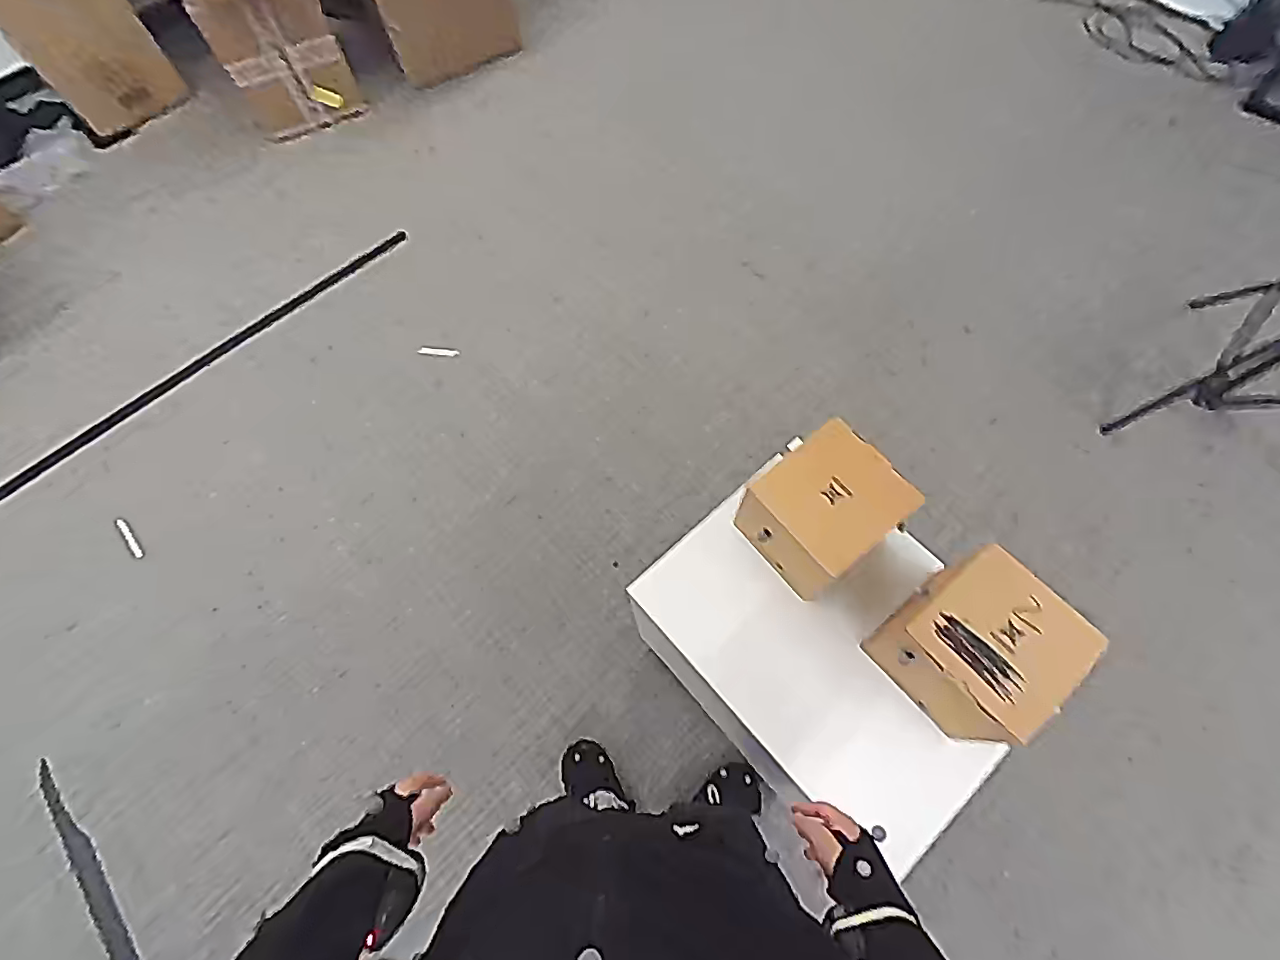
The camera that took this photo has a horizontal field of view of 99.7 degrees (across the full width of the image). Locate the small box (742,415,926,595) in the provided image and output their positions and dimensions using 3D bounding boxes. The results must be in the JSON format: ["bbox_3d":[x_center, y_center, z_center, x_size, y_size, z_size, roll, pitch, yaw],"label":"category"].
[{"bbox_3d":[0.266,0.046,0.793,0.179,0.176,0.168,-36,71,-12],"label":"small box"}]
